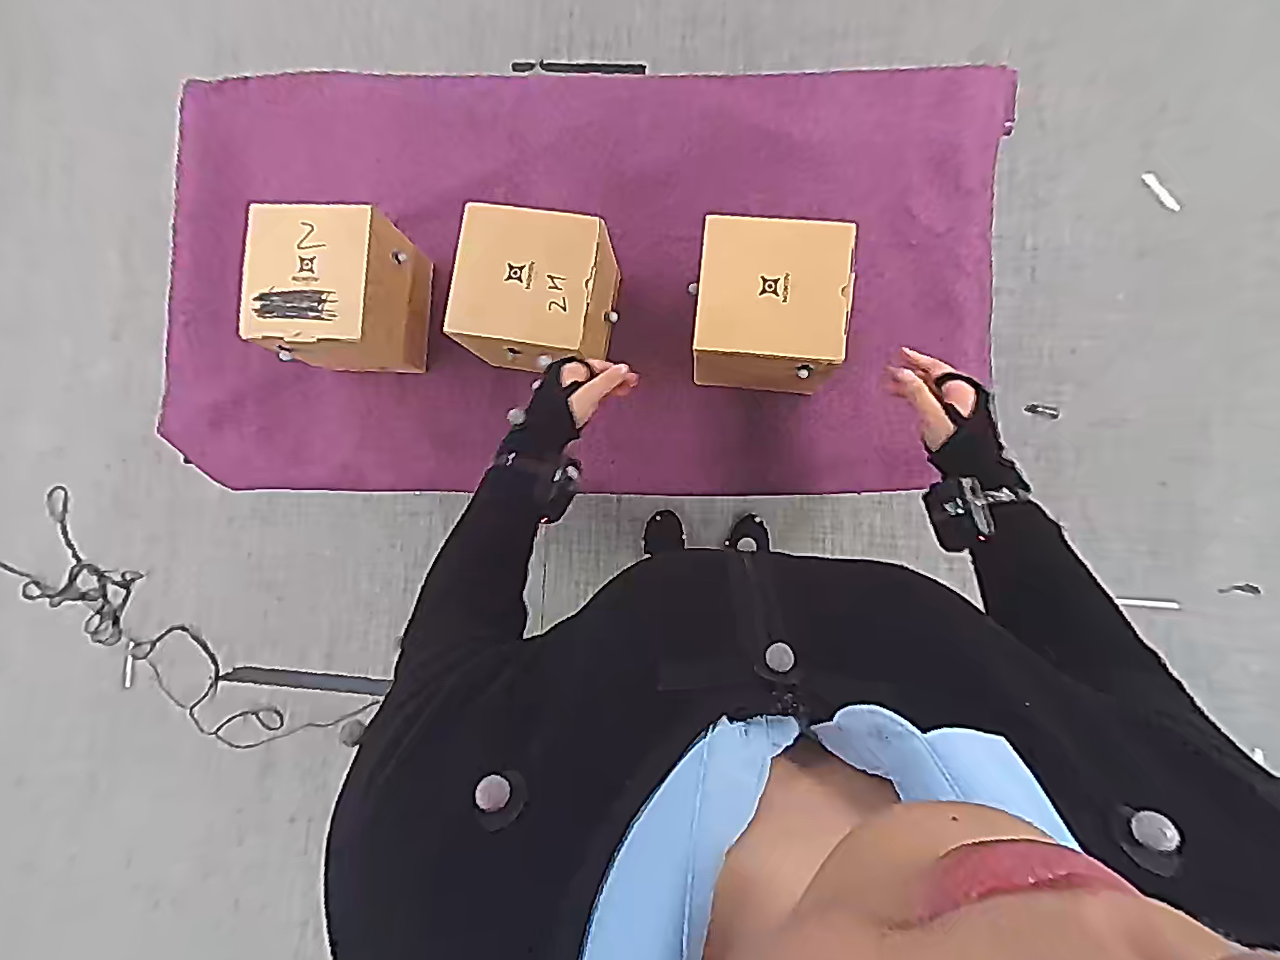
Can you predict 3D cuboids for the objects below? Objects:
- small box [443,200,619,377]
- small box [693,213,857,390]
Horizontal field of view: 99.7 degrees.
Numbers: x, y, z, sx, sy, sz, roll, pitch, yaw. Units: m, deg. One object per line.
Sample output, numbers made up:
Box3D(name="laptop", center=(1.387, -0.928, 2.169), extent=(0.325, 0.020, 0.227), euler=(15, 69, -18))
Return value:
Box3D(name="small box", center=(-0.134, -0.245, 0.730), extent=(0.179, 0.176, 0.168), euler=(10, 89, 5))
Box3D(name="small box", center=(0.163, -0.220, 0.704), extent=(0.179, 0.176, 0.168), euler=(6, 86, 5))
